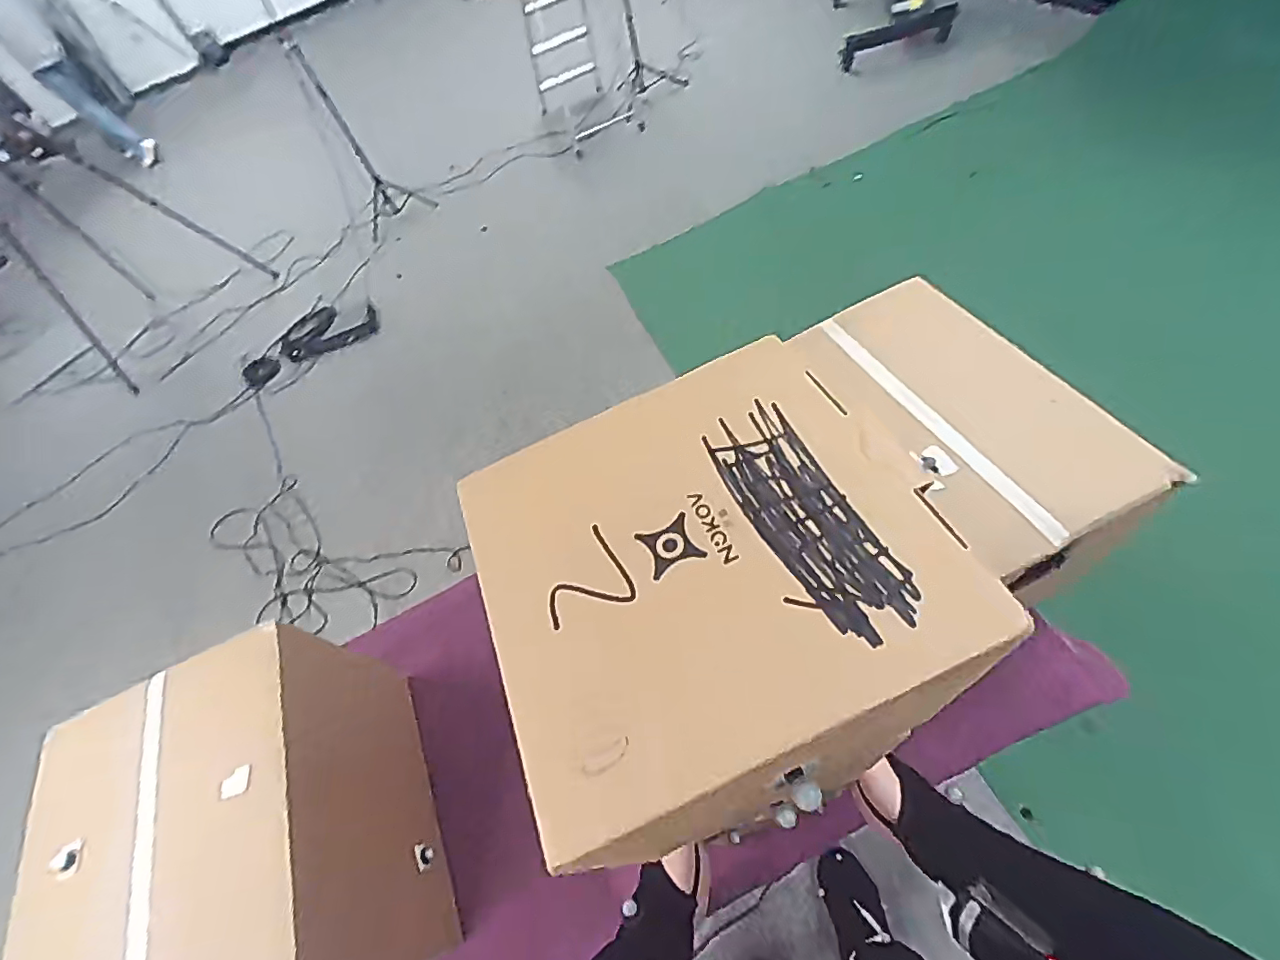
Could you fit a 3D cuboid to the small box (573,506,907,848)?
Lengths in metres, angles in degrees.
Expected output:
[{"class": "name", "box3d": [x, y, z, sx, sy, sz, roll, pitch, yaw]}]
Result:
[{"class": "small box", "box3d": [0.065, 0.155, 0.412, 0.168, 0.176, 0.179, -22, 54, 0]}]

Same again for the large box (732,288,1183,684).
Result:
[{"class": "large box", "box3d": [0.372, 0.010, 0.776, 0.320, 0.320, 0.408, -28, 55, -3]}]
